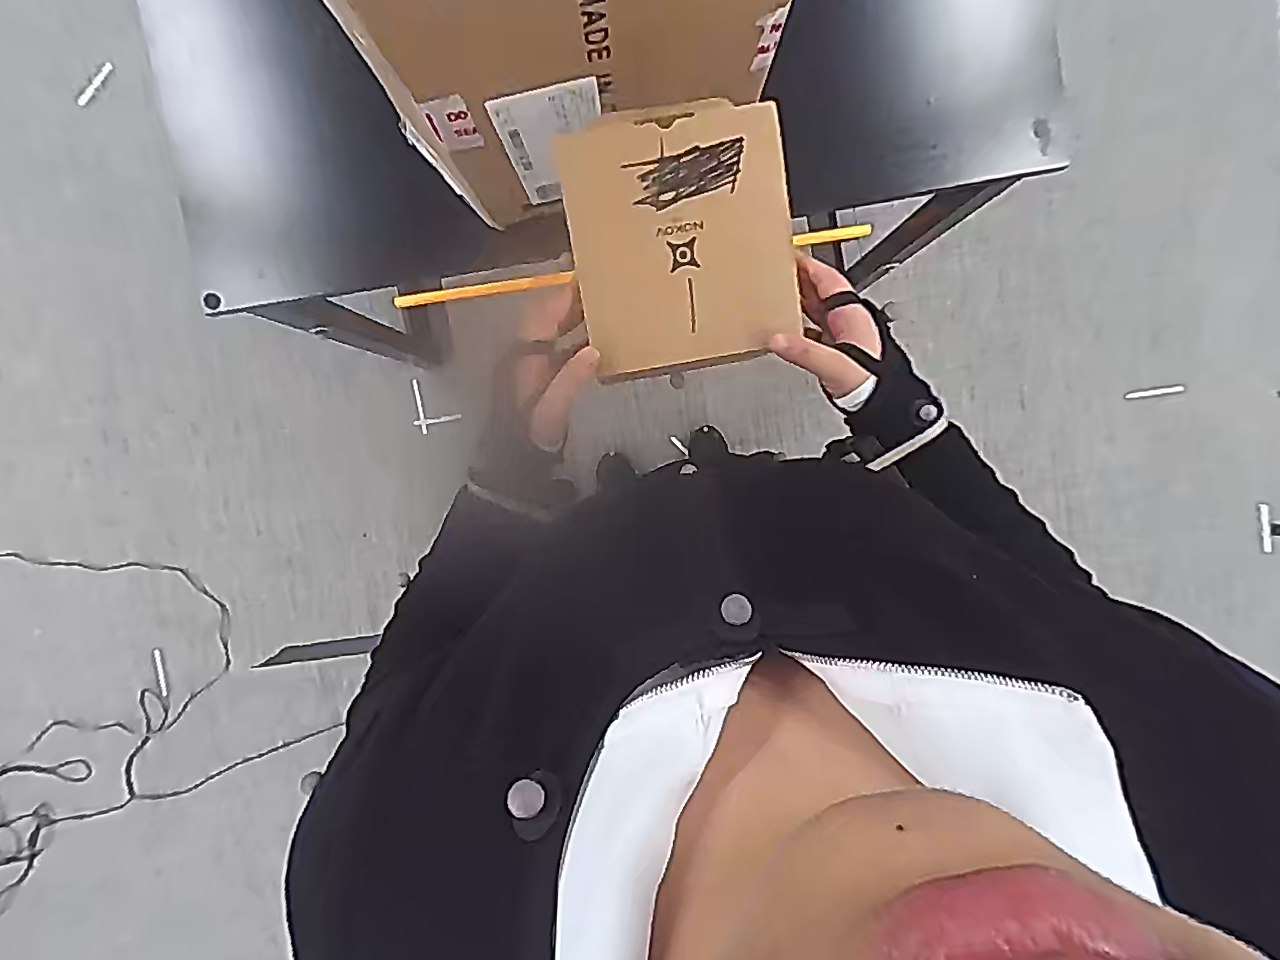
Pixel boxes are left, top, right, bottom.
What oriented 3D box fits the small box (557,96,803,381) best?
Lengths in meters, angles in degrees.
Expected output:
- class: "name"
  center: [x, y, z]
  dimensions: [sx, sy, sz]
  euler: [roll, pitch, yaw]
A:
- class: "small box"
  center: [0.027, -0.192, 0.480]
  dimensions: [0.168, 0.176, 0.179]
  euler: [-10, 98, -2]
